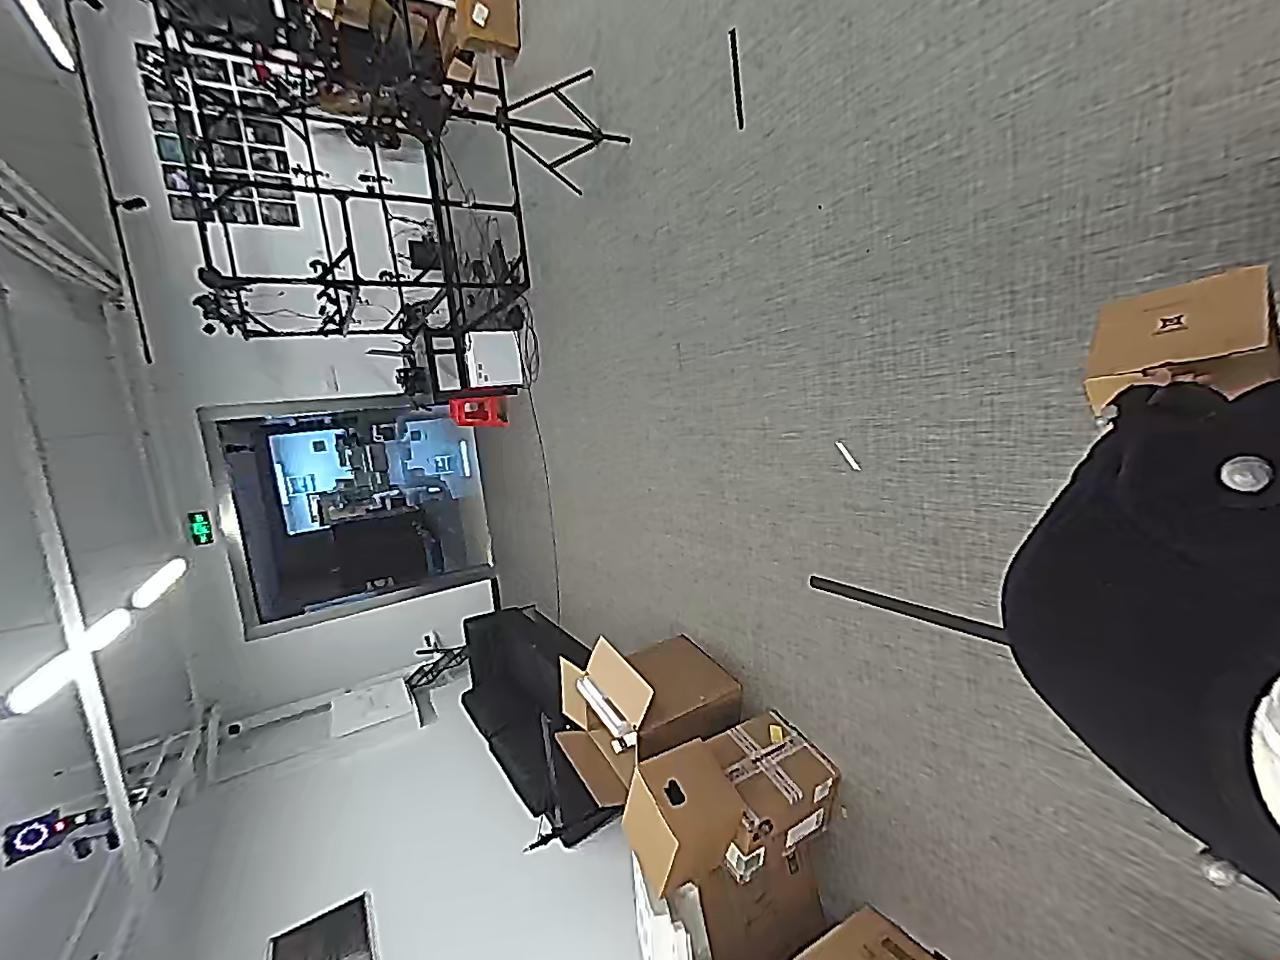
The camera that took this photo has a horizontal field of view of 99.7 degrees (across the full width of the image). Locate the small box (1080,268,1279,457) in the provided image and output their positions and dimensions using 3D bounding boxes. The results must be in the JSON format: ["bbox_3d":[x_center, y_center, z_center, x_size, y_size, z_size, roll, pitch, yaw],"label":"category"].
[{"bbox_3d":[0.735,-0.144,0.736,0.168,0.179,0.176,-5,132,52],"label":"small box"}]
